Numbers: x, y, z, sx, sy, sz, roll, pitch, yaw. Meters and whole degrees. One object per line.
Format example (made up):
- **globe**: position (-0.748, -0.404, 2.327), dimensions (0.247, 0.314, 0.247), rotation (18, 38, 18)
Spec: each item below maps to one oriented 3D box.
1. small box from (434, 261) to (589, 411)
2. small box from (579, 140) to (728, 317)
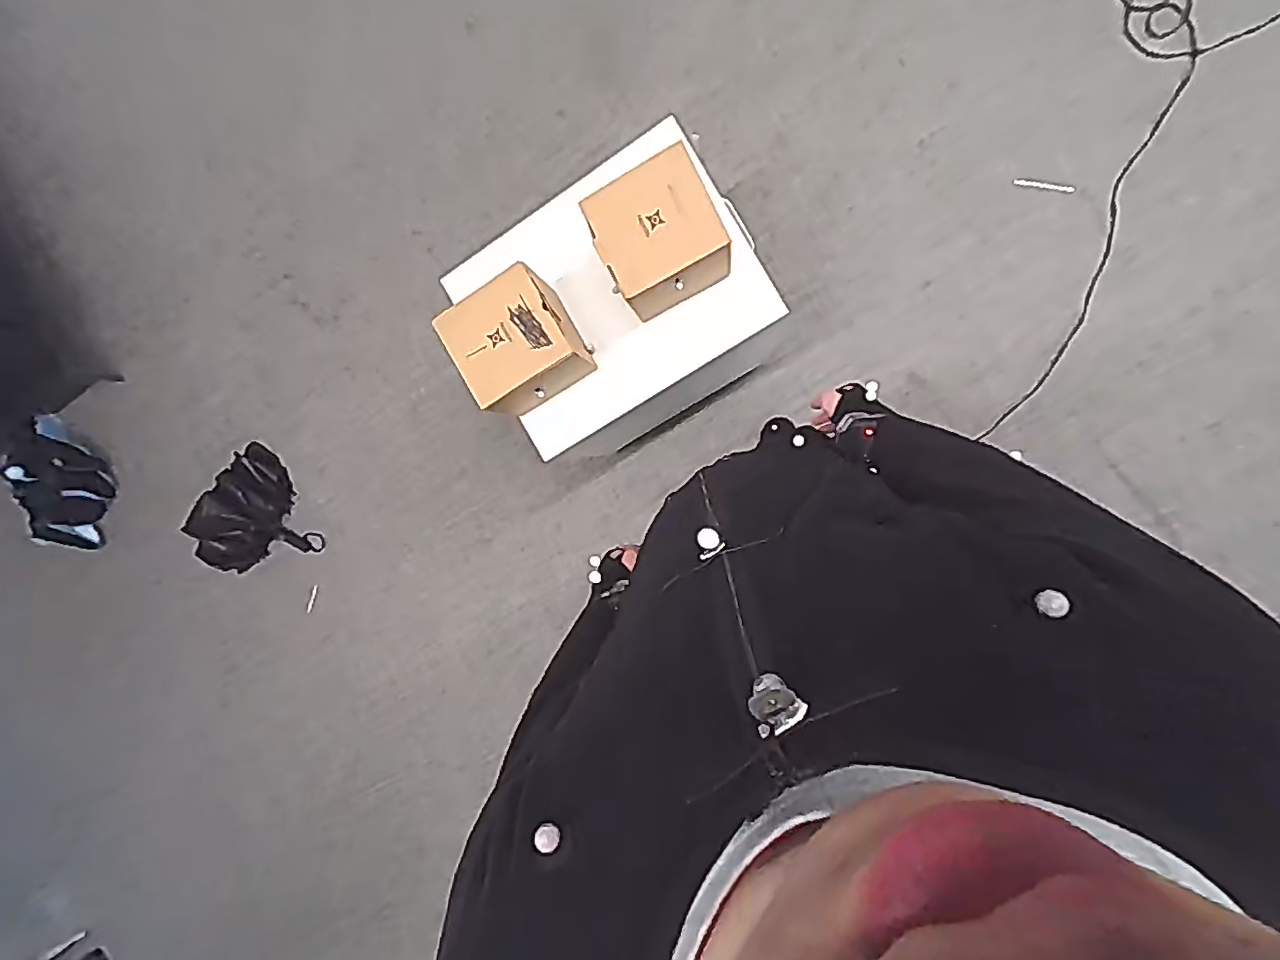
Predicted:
- **small box**: position (-0.201, -0.230, 0.912), dimensions (0.179, 0.176, 0.168), rotation (-30, 89, 10)
- **small box**: position (0.030, -0.385, 0.866), dimensions (0.179, 0.176, 0.168), rotation (-26, 91, 10)
